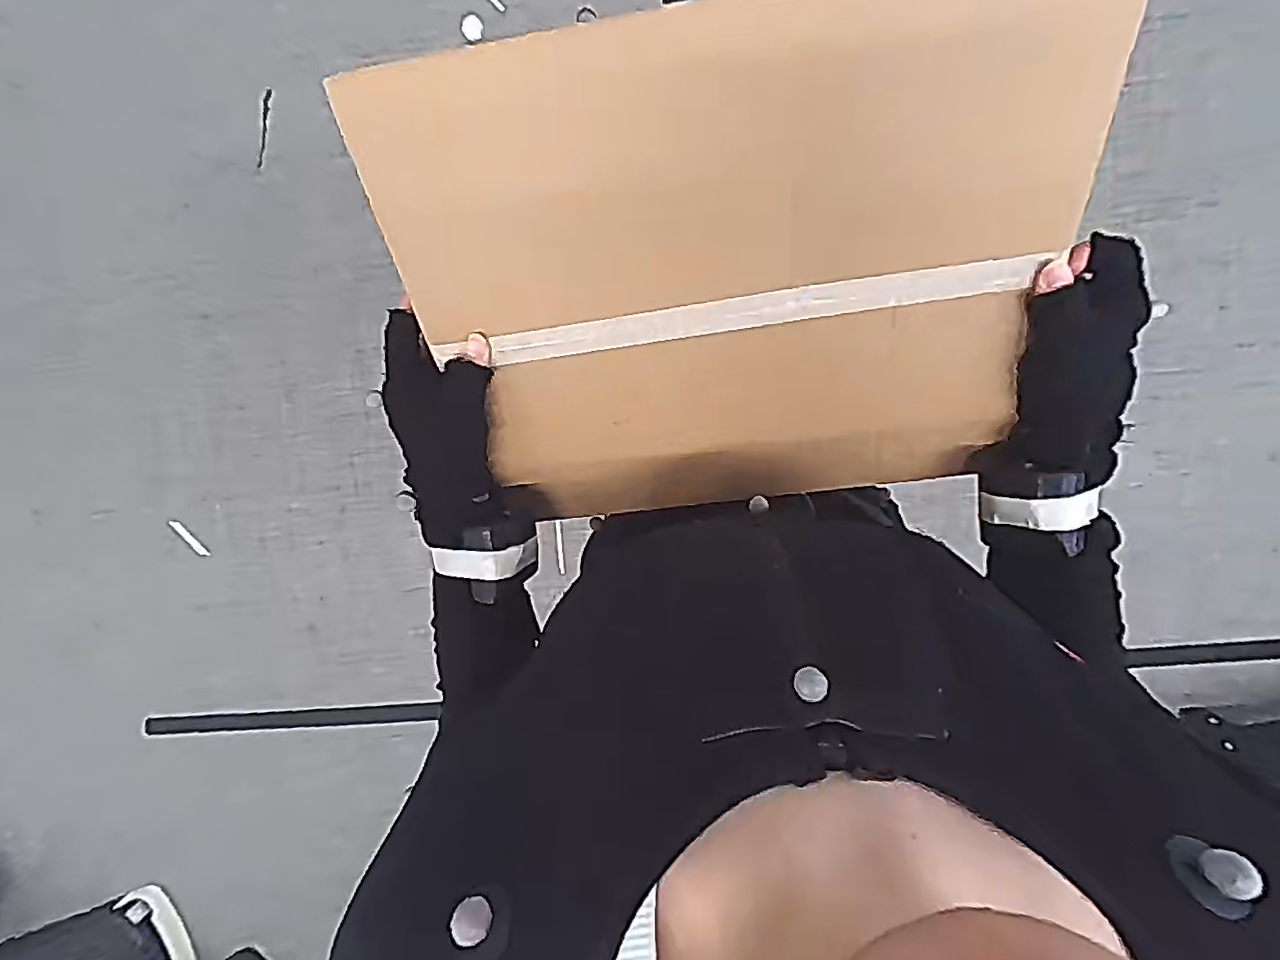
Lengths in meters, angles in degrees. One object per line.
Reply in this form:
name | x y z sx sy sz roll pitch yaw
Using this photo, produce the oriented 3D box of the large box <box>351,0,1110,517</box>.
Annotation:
large box | 0.058 -0.201 0.481 0.408 0.320 0.320 -7 128 6
